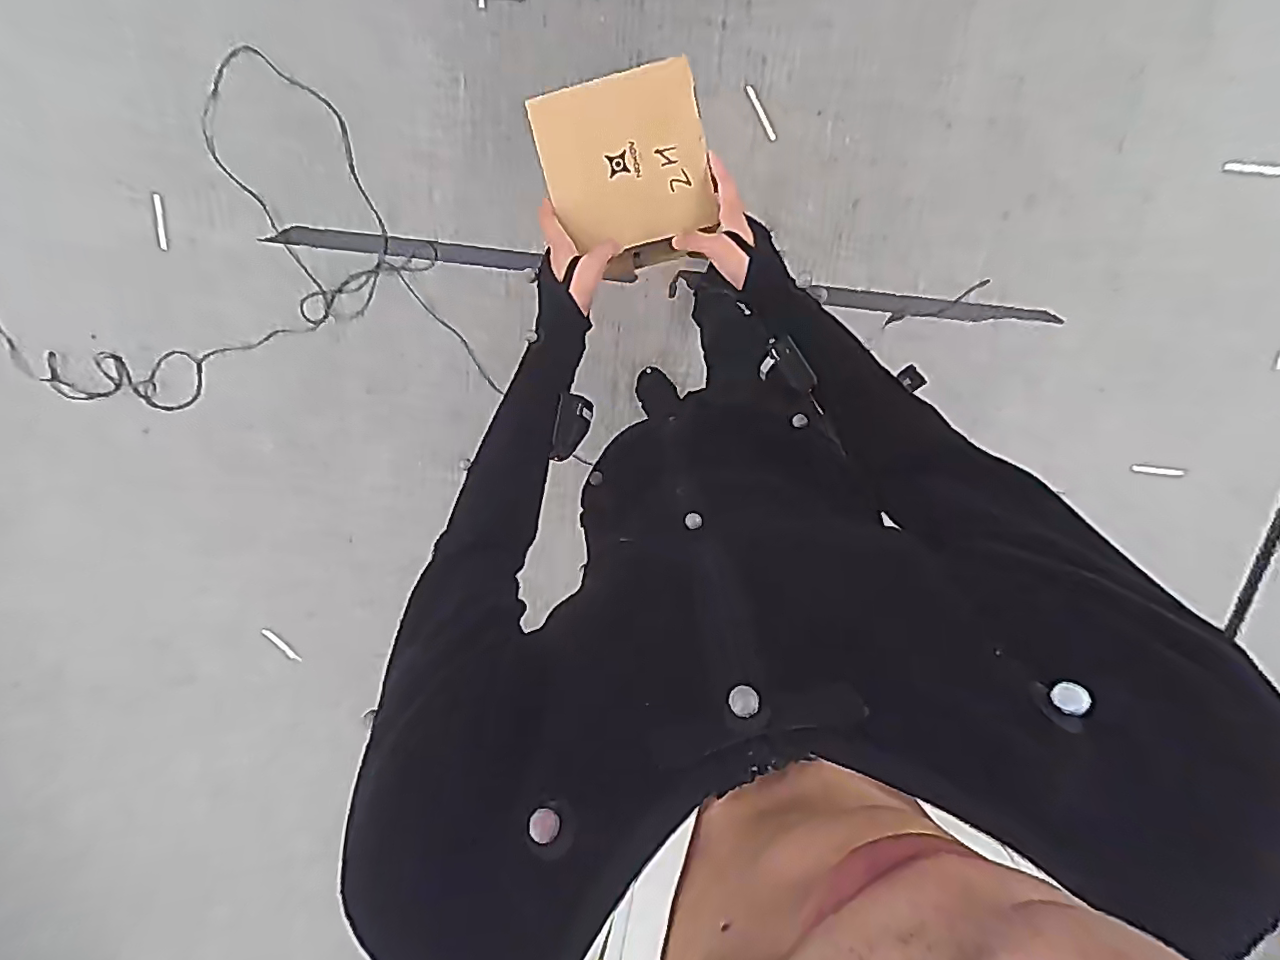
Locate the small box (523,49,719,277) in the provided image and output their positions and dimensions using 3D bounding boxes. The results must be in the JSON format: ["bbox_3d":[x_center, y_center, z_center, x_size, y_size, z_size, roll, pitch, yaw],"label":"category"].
[{"bbox_3d":[-0.017,-0.349,0.634,0.179,0.176,0.168,-14,103,3],"label":"small box"}]

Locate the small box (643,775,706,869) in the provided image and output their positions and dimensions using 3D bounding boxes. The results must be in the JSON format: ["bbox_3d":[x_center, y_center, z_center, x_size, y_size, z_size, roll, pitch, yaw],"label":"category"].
[{"bbox_3d":[0.104,1.077,1.708,0.168,0.176,0.179,9,107,-3],"label":"small box"}]
